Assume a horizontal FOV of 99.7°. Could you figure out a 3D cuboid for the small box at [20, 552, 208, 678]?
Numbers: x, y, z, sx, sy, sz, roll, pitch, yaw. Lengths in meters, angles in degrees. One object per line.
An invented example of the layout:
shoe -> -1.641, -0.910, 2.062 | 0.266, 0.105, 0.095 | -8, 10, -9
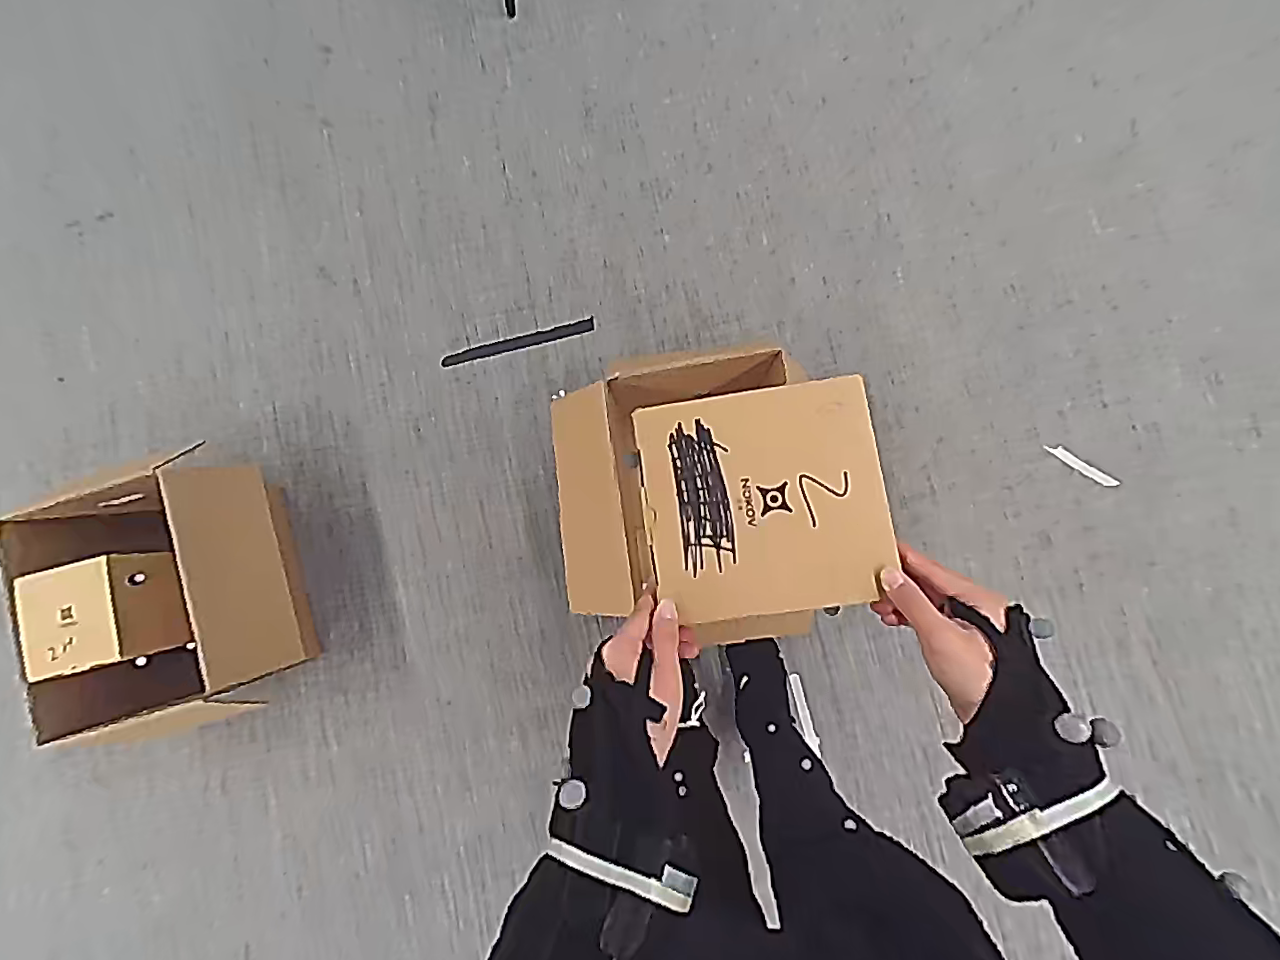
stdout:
small box -> -0.928, 0.230, 0.969 | 0.168, 0.176, 0.179 | -14, 85, 3
